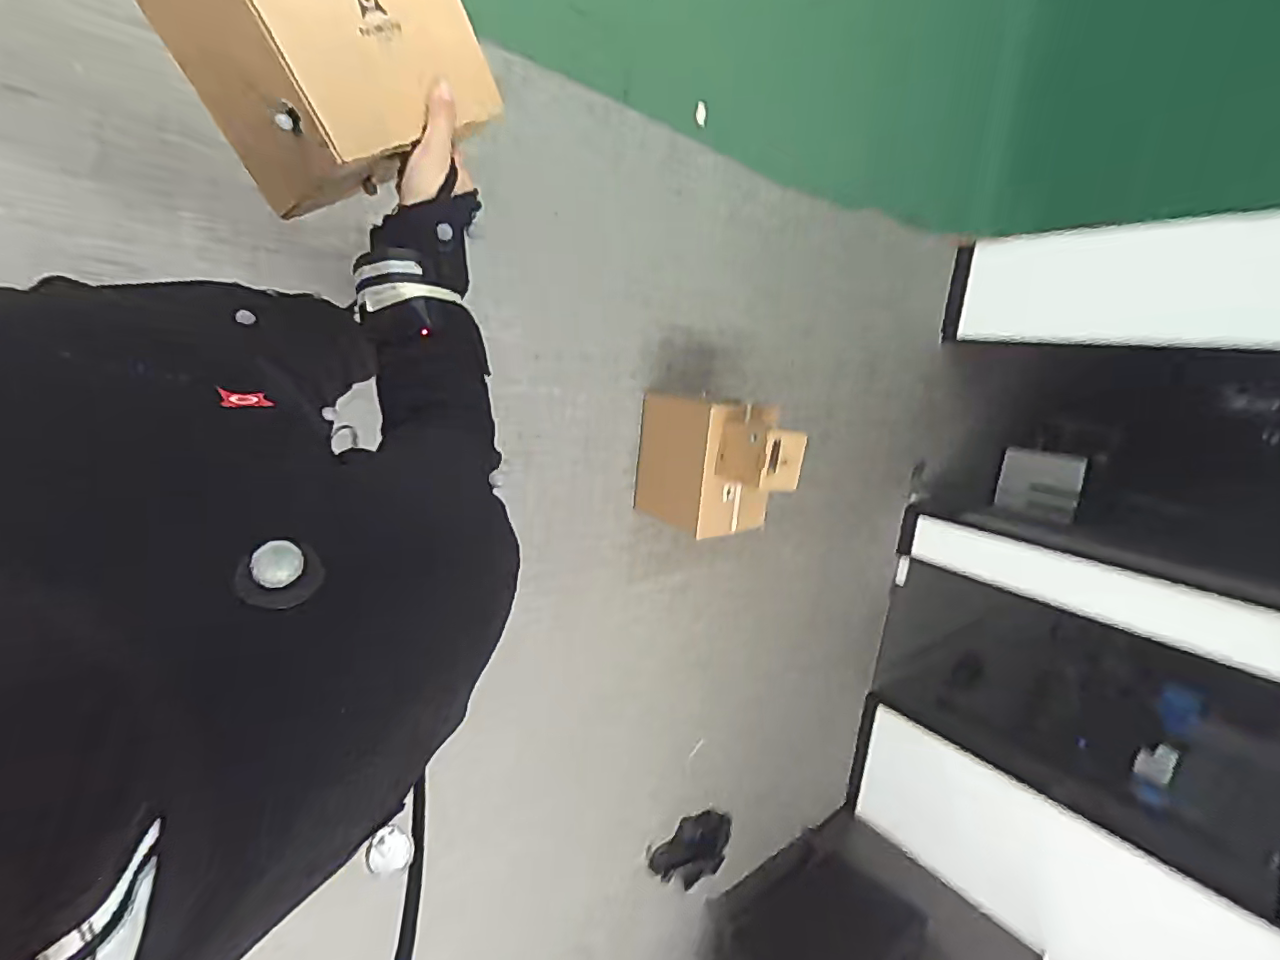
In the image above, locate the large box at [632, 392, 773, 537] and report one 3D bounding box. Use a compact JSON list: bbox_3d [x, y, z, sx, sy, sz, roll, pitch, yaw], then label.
[{"bbox_3d":[0.194,-0.070,1.765,0.320,0.320,0.408,-6,108,-37],"label":"large box"}]
